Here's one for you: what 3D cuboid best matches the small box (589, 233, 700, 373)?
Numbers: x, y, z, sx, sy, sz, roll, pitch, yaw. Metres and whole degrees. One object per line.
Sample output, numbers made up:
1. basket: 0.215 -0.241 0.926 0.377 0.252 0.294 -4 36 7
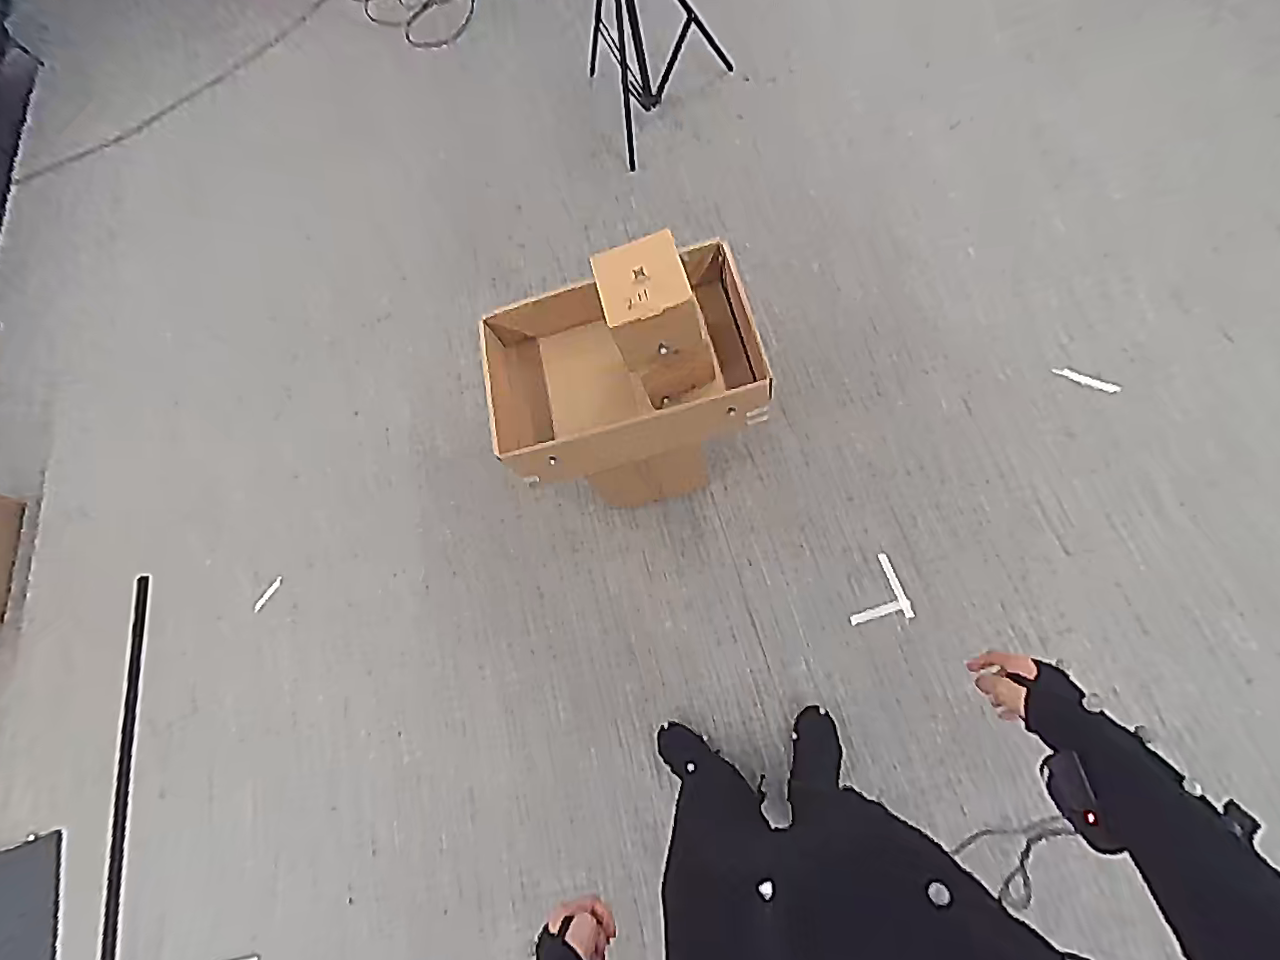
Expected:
1. small box: 0.013 -0.345 1.081 0.168 0.176 0.179 -18 69 7
